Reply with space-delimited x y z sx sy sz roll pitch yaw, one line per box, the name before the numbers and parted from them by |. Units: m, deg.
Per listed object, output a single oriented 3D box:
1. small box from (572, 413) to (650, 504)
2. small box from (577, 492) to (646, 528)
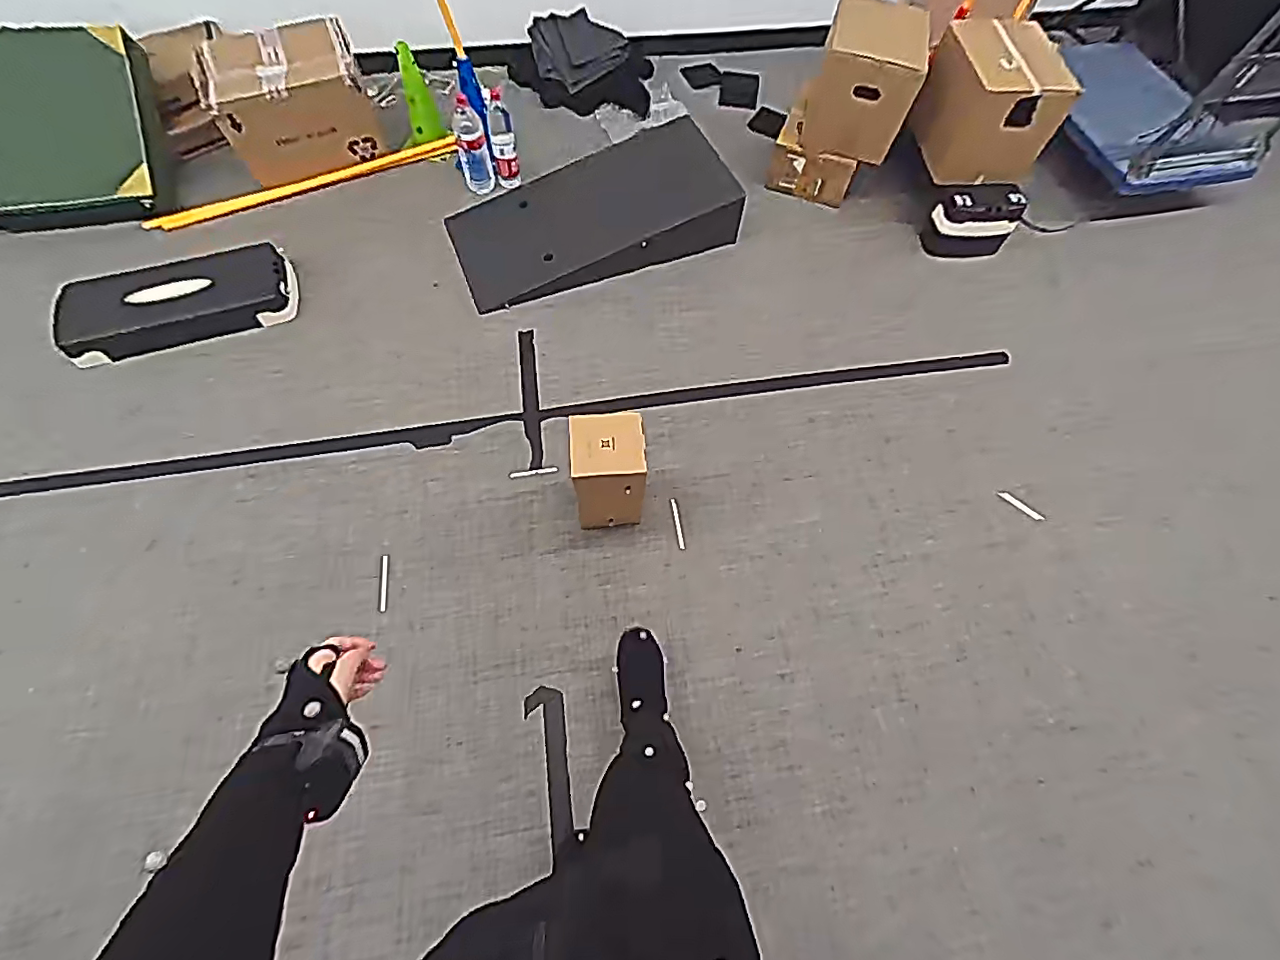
small box | -0.073 -0.049 1.314 0.179 0.176 0.168 -3 64 -3
small box | -0.084 0.020 1.462 0.179 0.176 0.168 -6 65 -6
